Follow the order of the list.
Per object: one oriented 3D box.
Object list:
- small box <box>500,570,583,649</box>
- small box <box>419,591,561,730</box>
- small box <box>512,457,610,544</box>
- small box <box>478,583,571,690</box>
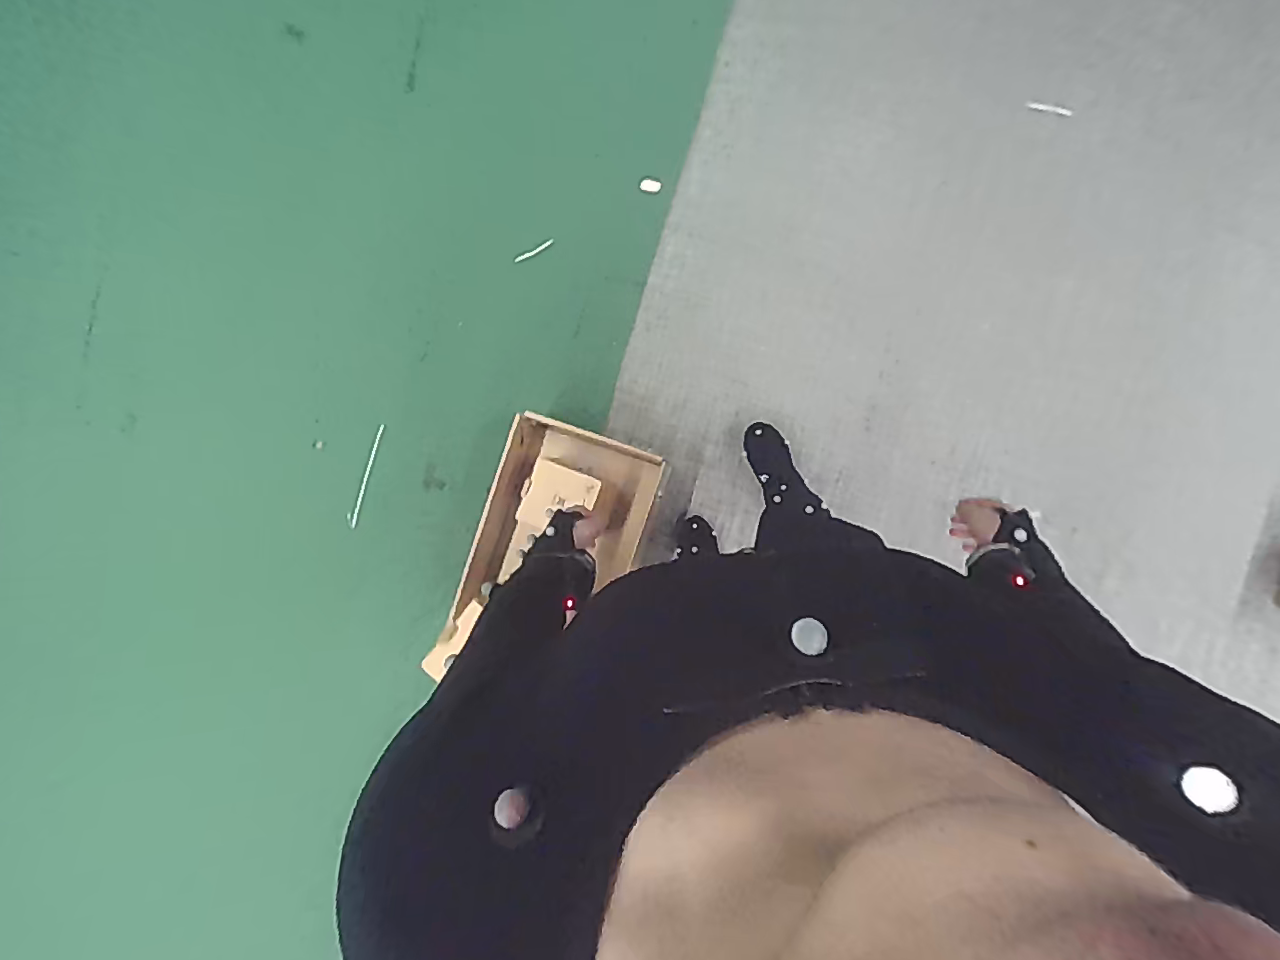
[{"bbox_3d":[-0.262,0.337,1.382,0.179,0.176,0.168,16,91,7],"label":"small box"},{"bbox_3d":[-0.280,0.338,1.056,0.179,0.176,0.168,39,93,6],"label":"small box"},{"bbox_3d":[-0.194,0.052,1.383,0.179,0.176,0.168,22,92,6],"label":"small box"},{"bbox_3d":[-0.271,0.342,1.219,0.179,0.176,0.168,17,90,7],"label":"small box"}]
